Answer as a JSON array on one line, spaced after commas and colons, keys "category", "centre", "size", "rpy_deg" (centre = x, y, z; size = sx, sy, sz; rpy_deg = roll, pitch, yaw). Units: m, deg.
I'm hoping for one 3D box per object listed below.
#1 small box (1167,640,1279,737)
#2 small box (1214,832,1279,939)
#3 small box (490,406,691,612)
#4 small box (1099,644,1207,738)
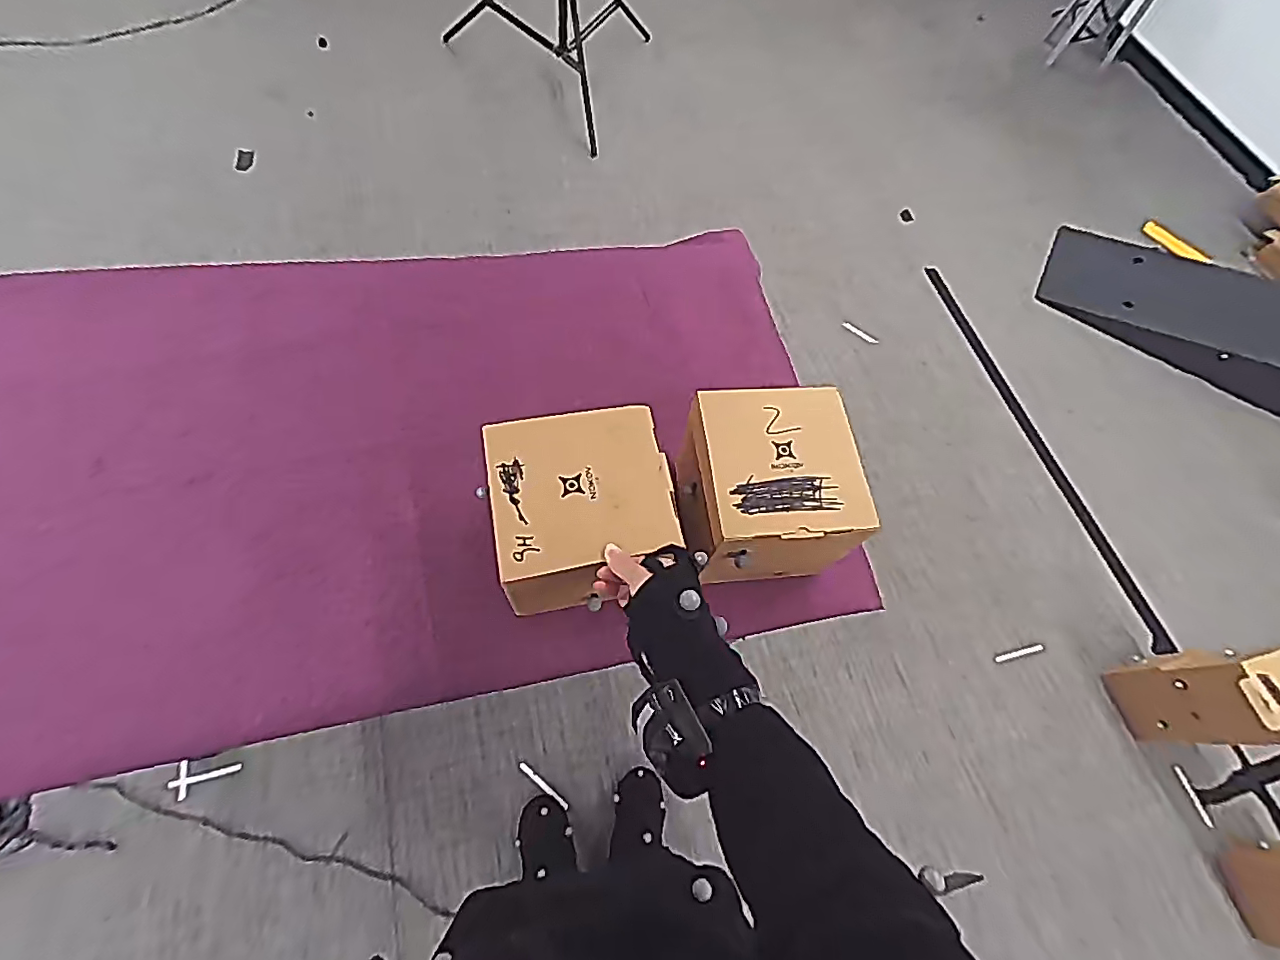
[{"category": "small box", "centre": [1.353, 0.470, 1.212], "size": [0.179, 0.176, 0.168], "rpy_deg": [-10, 67, -13]}, {"category": "small box", "centre": [1.469, 0.916, 1.204], "size": [0.168, 0.176, 0.179], "rpy_deg": [-6, 67, -11]}, {"category": "small box", "centre": [-0.062, 0.038, 0.599], "size": [0.179, 0.176, 0.168], "rpy_deg": [-9, 67, -12]}, {"category": "small box", "centre": [1.333, 0.532, 1.362], "size": [0.168, 0.176, 0.179], "rpy_deg": [-13, 67, -14]}]
